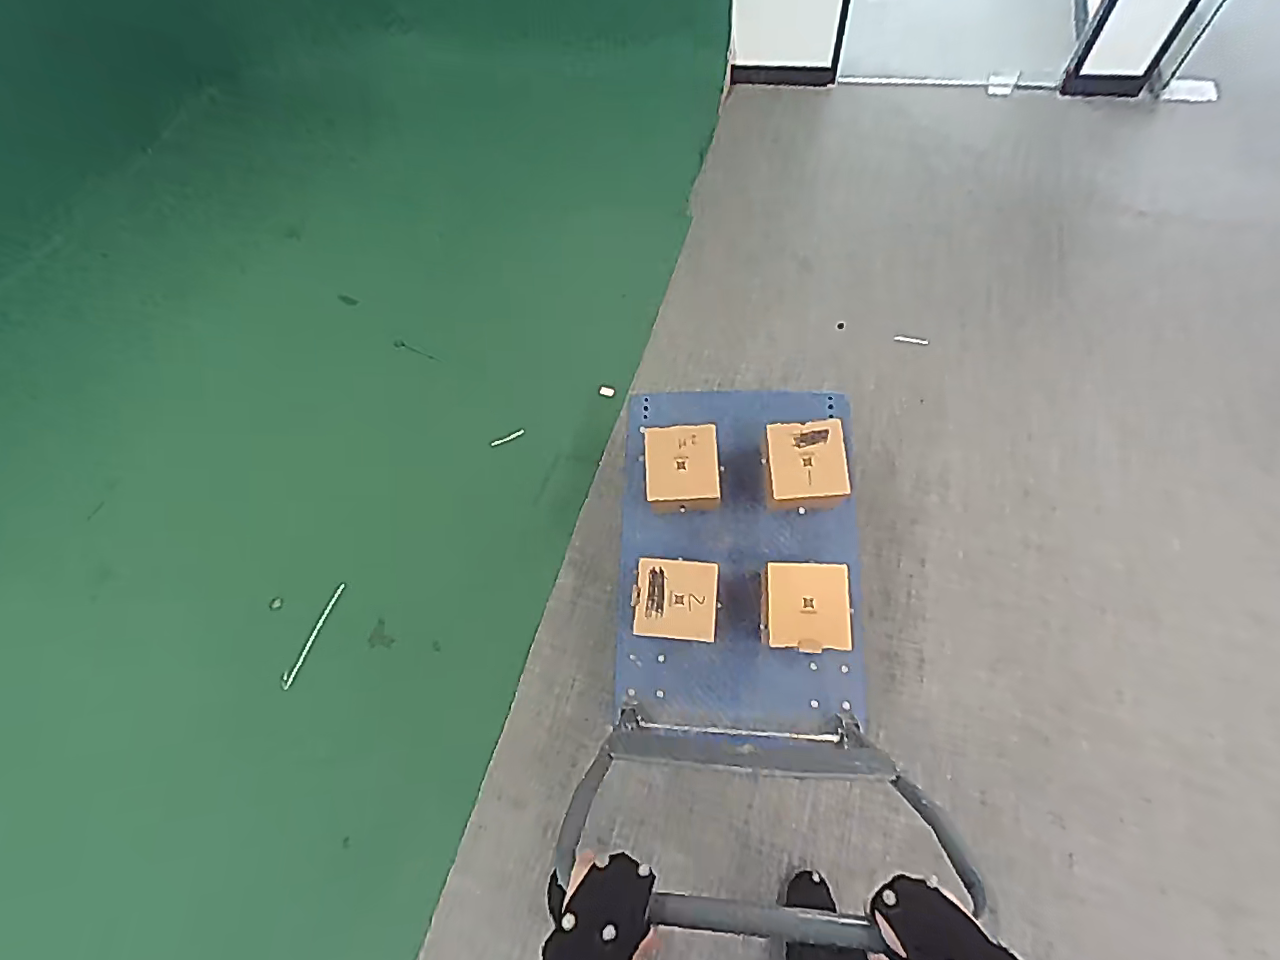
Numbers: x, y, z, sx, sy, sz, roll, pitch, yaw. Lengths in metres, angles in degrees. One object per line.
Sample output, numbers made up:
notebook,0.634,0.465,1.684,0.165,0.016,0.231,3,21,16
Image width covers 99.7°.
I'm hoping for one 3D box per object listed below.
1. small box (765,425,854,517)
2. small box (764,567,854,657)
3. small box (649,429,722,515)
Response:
small box,0.390,-0.016,1.271,0.168,0.176,0.179,-3,76,7
small box,0.365,0.291,1.196,0.168,0.176,0.179,1,76,8
small box,0.113,-0.013,1.305,0.168,0.176,0.179,-2,76,6
